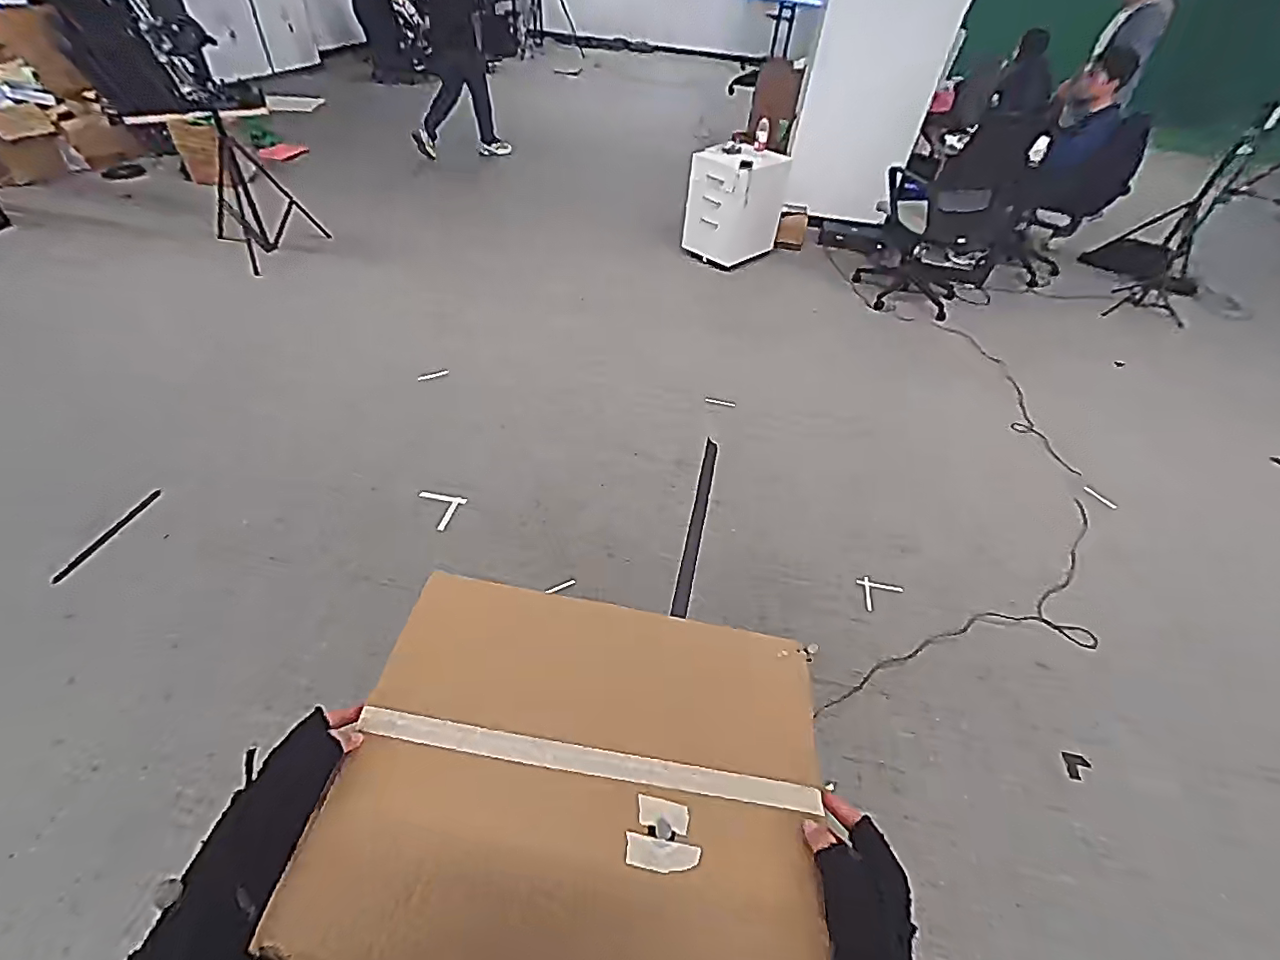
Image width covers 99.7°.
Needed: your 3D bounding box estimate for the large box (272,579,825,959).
[{"bbox_3d":[-0.065,0.350,0.582,0.408,0.320,0.320,12,46,0],"label":"large box"}]
